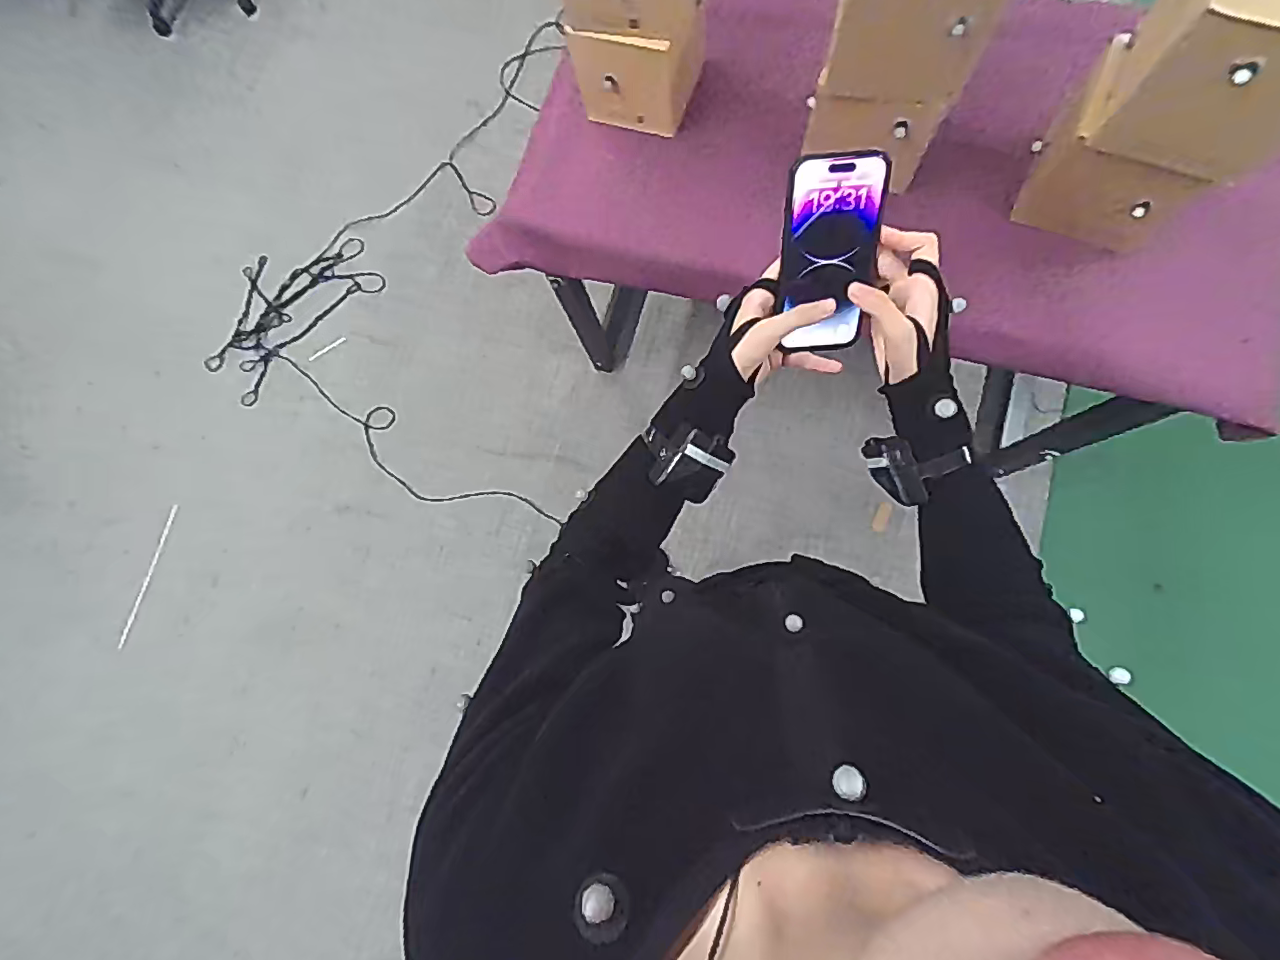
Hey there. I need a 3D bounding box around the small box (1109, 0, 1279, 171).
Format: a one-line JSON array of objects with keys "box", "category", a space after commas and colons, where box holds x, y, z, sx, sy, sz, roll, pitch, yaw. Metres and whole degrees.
[{"box": [0.666, -0.472, 0.578, 0.179, 0.176, 0.168, 24, 83, 11], "category": "small box"}]

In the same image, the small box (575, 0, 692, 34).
[{"box": [-0.005, -0.750, 0.725, 0.168, 0.176, 0.179, 13, 82, 10], "category": "small box"}]

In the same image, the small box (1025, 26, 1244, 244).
[{"box": [0.686, -0.457, 0.741, 0.179, 0.176, 0.168, 24, 83, 12], "category": "small box"}]

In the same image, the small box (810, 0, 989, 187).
[{"box": [0.372, -0.573, 0.806, 0.179, 0.176, 0.168, 18, 82, 11], "category": "small box"}]

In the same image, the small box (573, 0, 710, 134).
[{"box": [0.014, -0.711, 0.884, 0.168, 0.176, 0.179, 19, 82, 11], "category": "small box"}]
